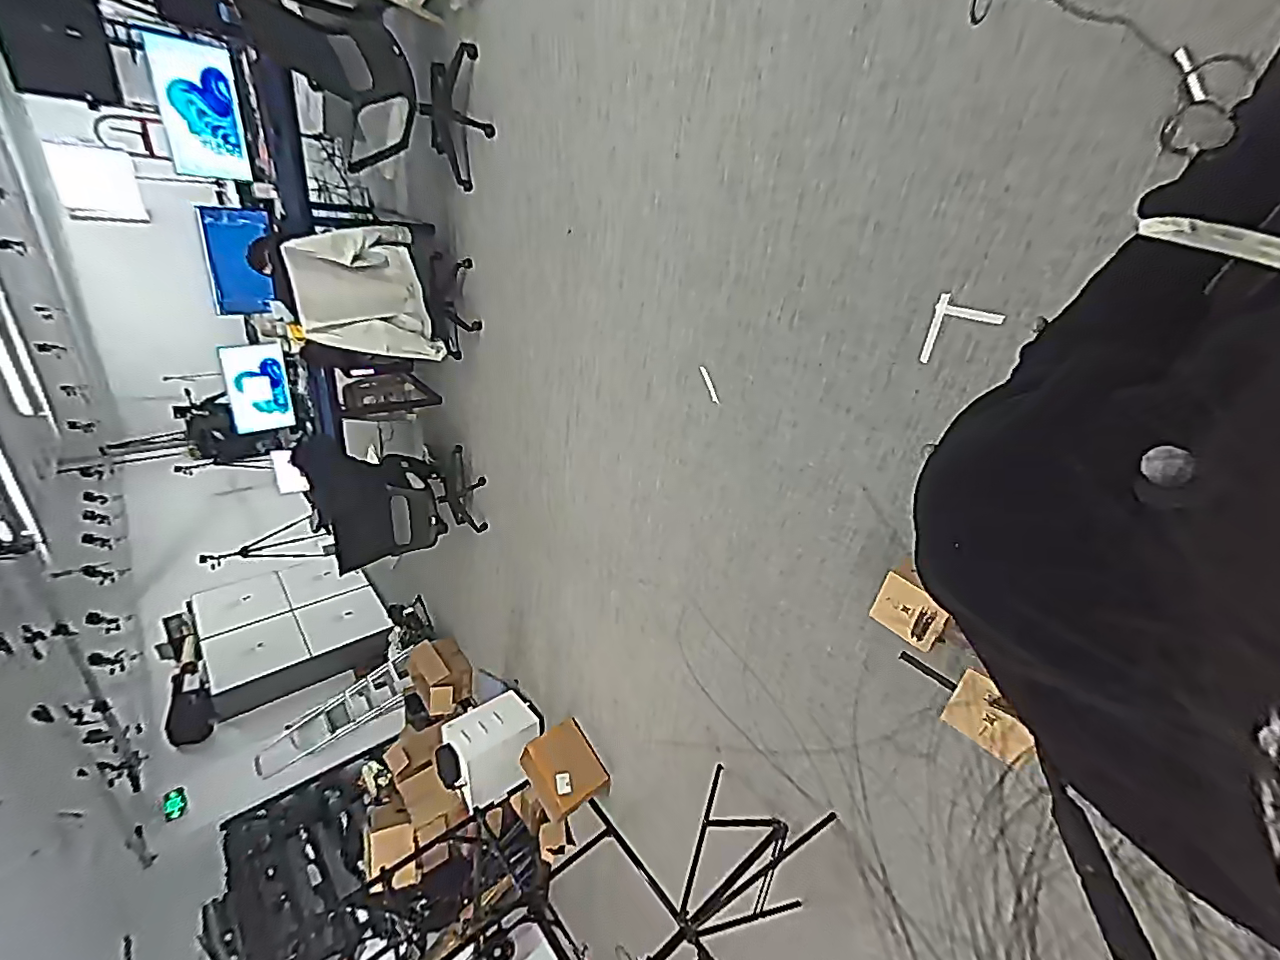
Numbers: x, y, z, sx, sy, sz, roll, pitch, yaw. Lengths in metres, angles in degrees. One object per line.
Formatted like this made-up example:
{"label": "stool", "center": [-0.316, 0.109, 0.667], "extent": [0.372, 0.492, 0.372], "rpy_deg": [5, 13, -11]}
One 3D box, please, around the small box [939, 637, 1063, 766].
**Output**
{"label": "small box", "center": [0.824, 0.493, 1.230], "extent": [0.168, 0.176, 0.179], "rpy_deg": [33, 128, 39]}
